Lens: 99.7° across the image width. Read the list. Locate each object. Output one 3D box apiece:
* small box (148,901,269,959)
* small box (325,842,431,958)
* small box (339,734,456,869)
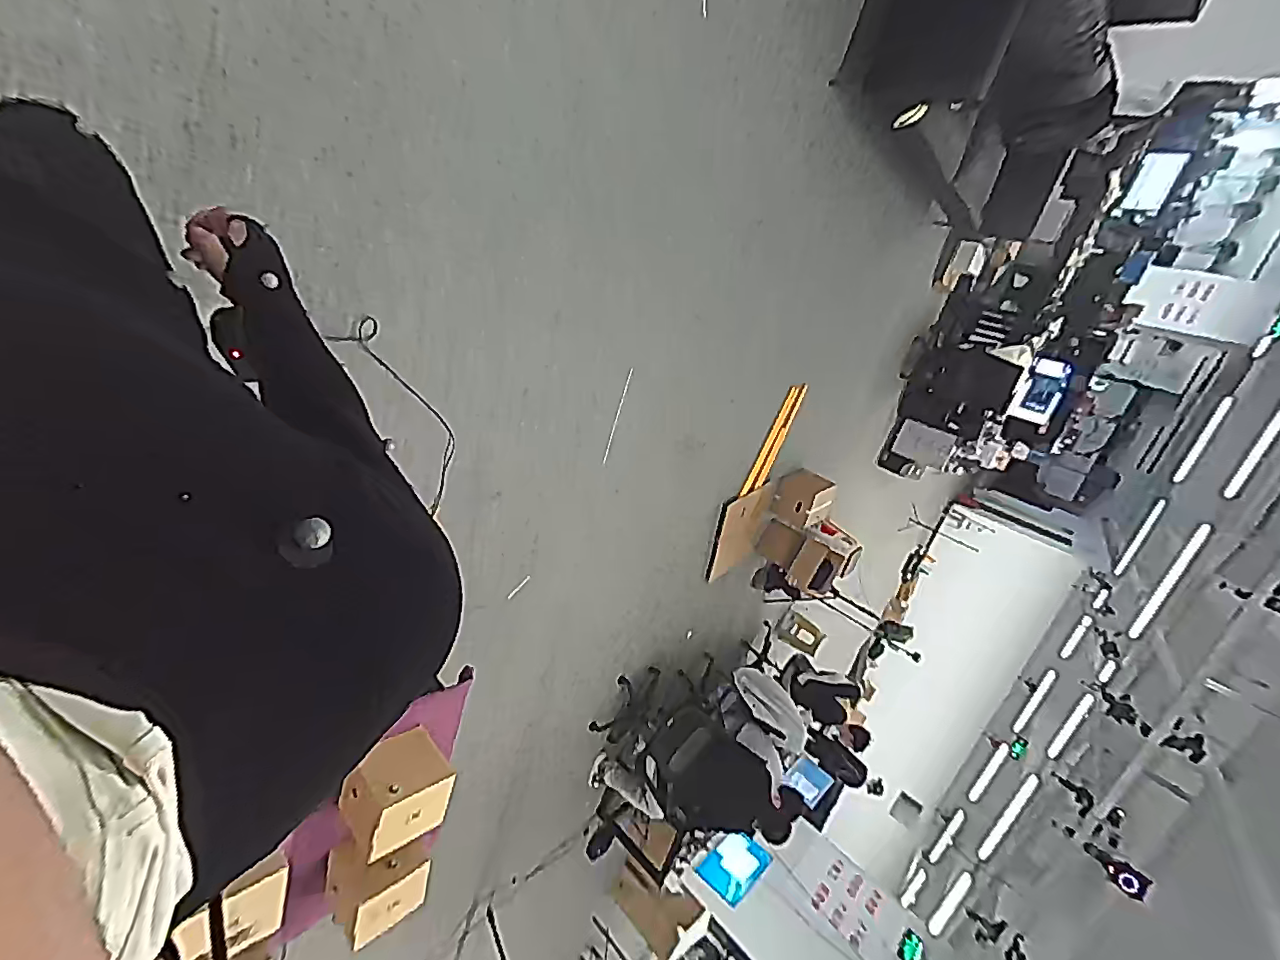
[{"bbox_3d":[-0.862,1.005,1.071,0.179,0.176,0.168,-6,120,-50],"label":"small box"},{"bbox_3d":[-0.644,0.989,1.328,0.179,0.176,0.168,-8,120,-48],"label":"small box"},{"bbox_3d":[-0.558,0.725,1.243,0.179,0.176,0.168,-3,118,-50],"label":"small box"}]
